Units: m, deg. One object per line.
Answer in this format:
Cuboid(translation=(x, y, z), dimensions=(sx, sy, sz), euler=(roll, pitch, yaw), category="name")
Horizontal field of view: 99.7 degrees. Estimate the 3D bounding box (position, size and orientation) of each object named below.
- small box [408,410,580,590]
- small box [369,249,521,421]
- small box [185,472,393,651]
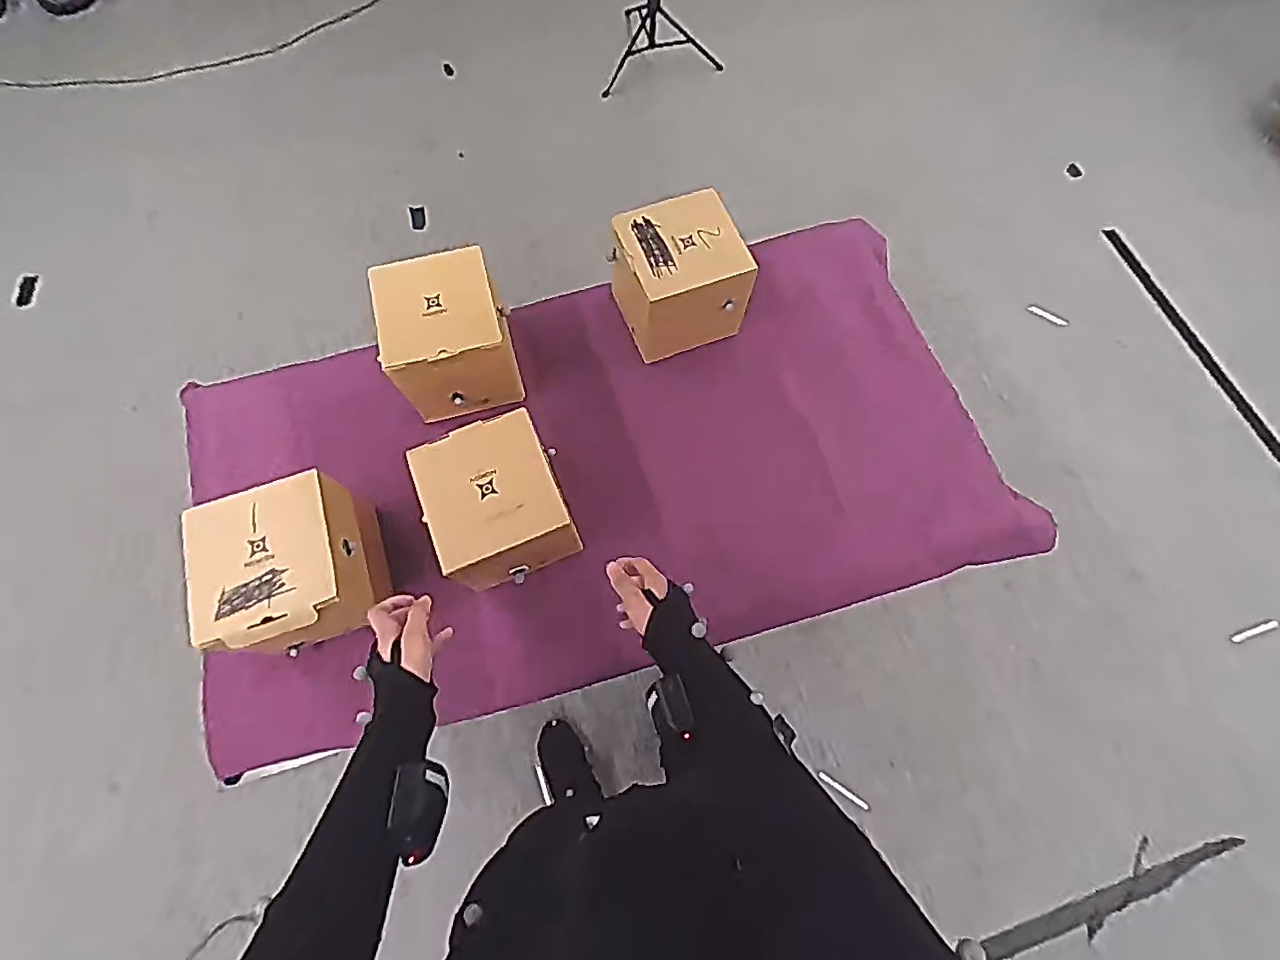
Cuboid(translation=(-0.194, 0.036, 0.756), dimensions=(0.168, 0.176, 0.179), euler=(-22, 73, -7), category="small box")
Cuboid(translation=(-0.292, -0.217, 0.837), dimensions=(0.168, 0.176, 0.179), euler=(-15, 73, -7), category="small box")
Cuboid(translation=(-0.454, 0.117, 0.722), dimensions=(0.168, 0.176, 0.179), euler=(-19, 71, -8), category="small box")
